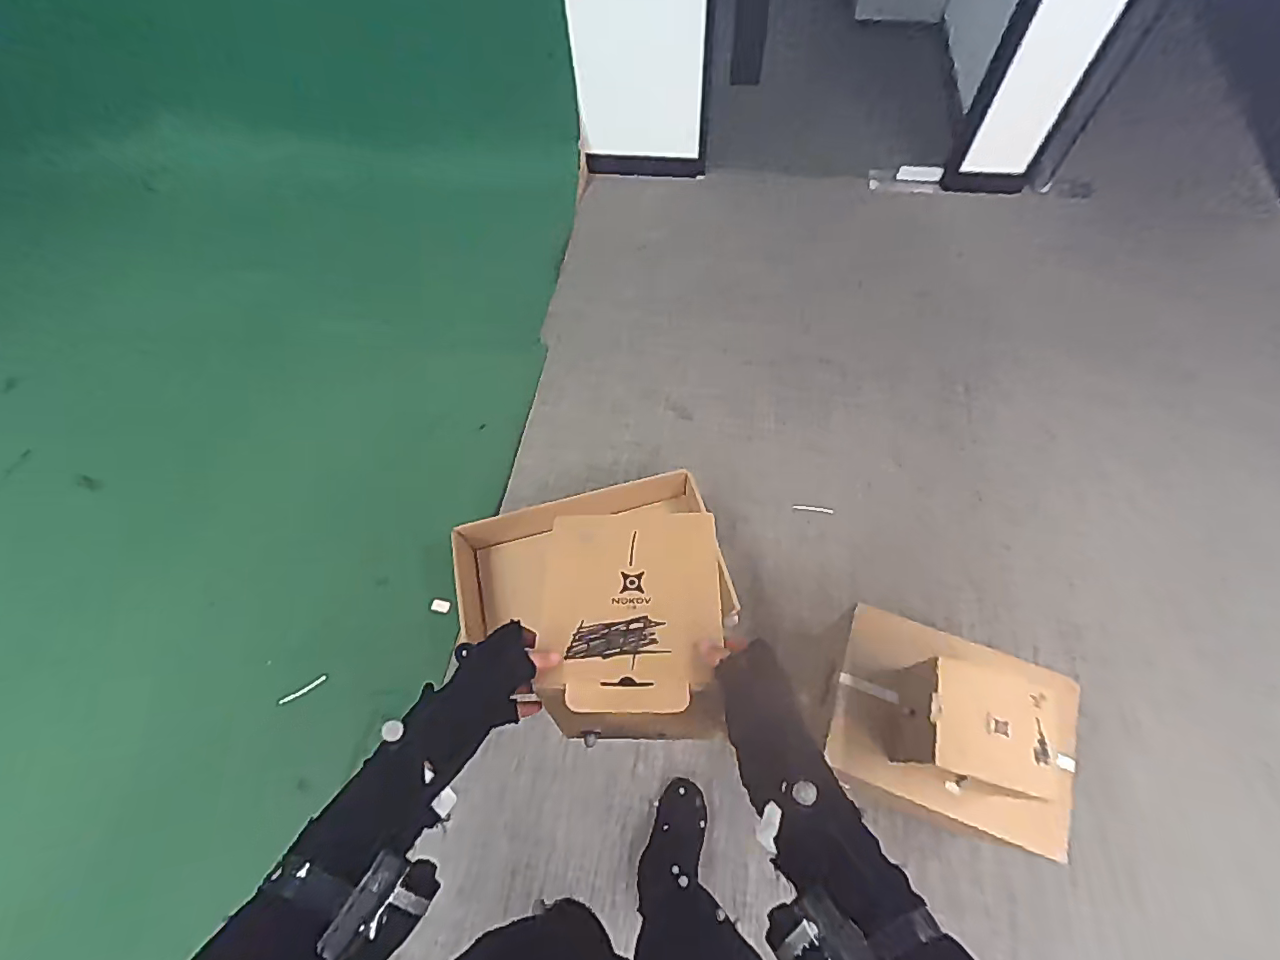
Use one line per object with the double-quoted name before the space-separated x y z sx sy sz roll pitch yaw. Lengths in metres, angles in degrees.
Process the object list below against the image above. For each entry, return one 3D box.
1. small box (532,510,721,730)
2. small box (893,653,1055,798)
"small box" -0.002 0.151 0.565 0.168 0.176 0.179 -2 51 4
"small box" 0.538 0.404 0.892 0.179 0.176 0.168 13 65 10
